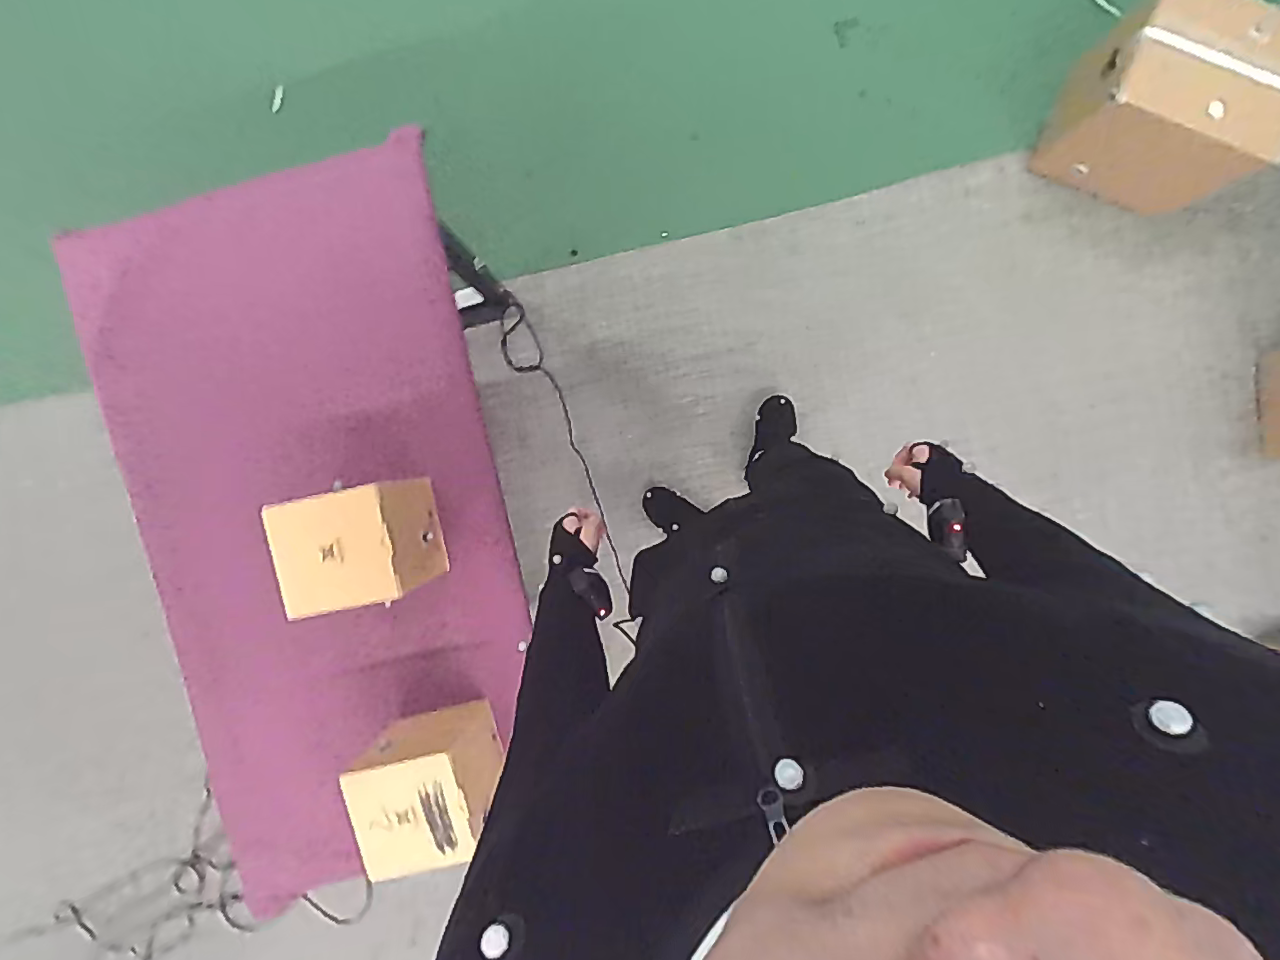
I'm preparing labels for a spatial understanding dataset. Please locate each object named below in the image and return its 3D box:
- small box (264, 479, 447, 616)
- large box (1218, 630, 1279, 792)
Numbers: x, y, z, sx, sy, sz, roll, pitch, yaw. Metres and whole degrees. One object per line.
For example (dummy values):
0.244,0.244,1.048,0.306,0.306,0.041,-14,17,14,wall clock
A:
-0.432,0.097,0.847,0.179,0.176,0.168,-13,93,3,small box
1.905,0.670,1.463,0.320,0.320,0.408,10,93,1,large box
